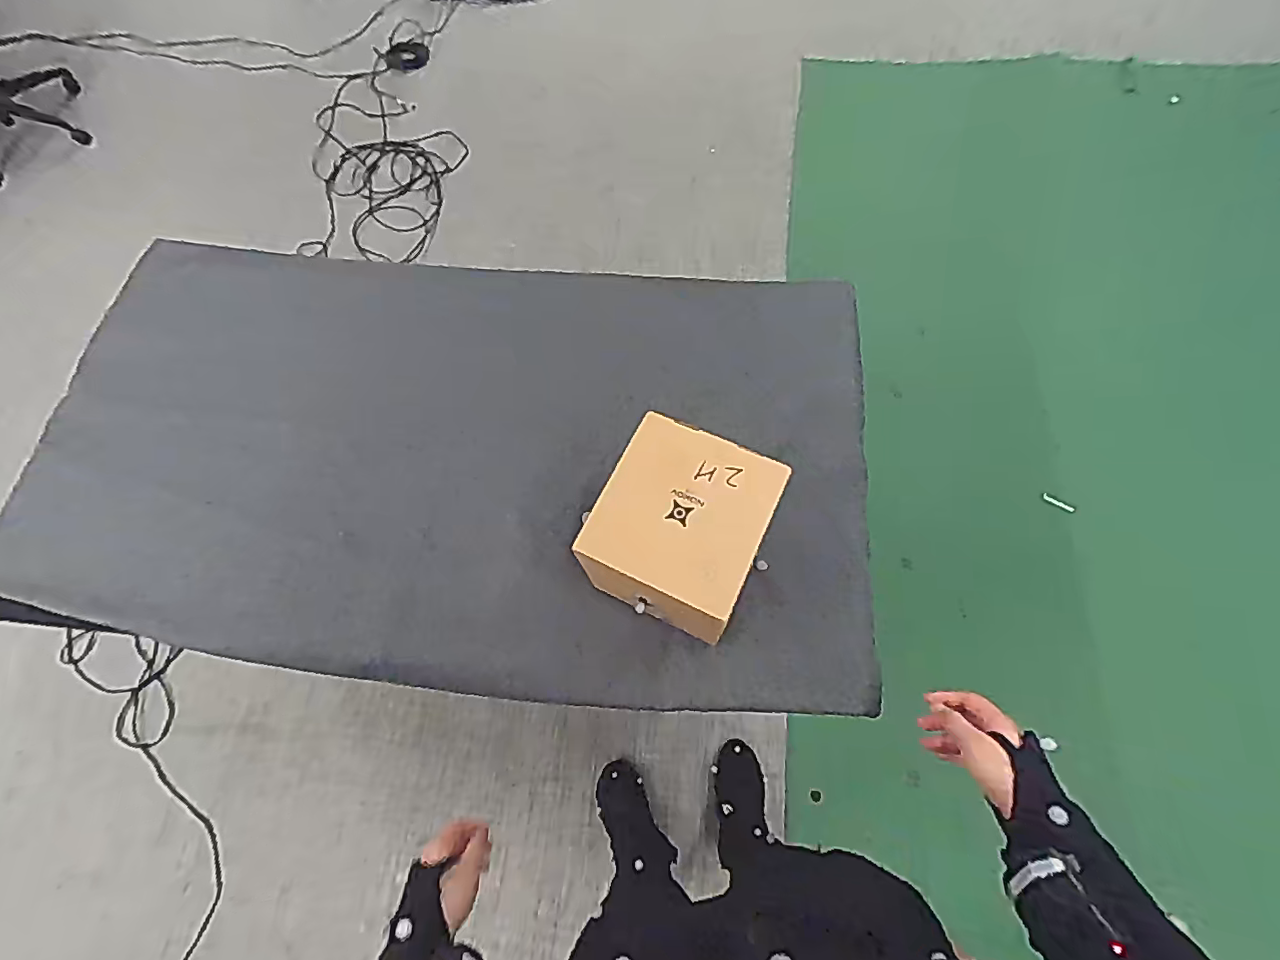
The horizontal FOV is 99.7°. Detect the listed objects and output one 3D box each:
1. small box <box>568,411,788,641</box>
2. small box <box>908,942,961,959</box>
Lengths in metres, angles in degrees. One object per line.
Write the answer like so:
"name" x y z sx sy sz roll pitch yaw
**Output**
"small box" 0.045 0.061 0.602 0.168 0.176 0.179 24 70 13
"small box" 0.564 1.001 0.984 0.179 0.176 0.168 -25 69 -6
